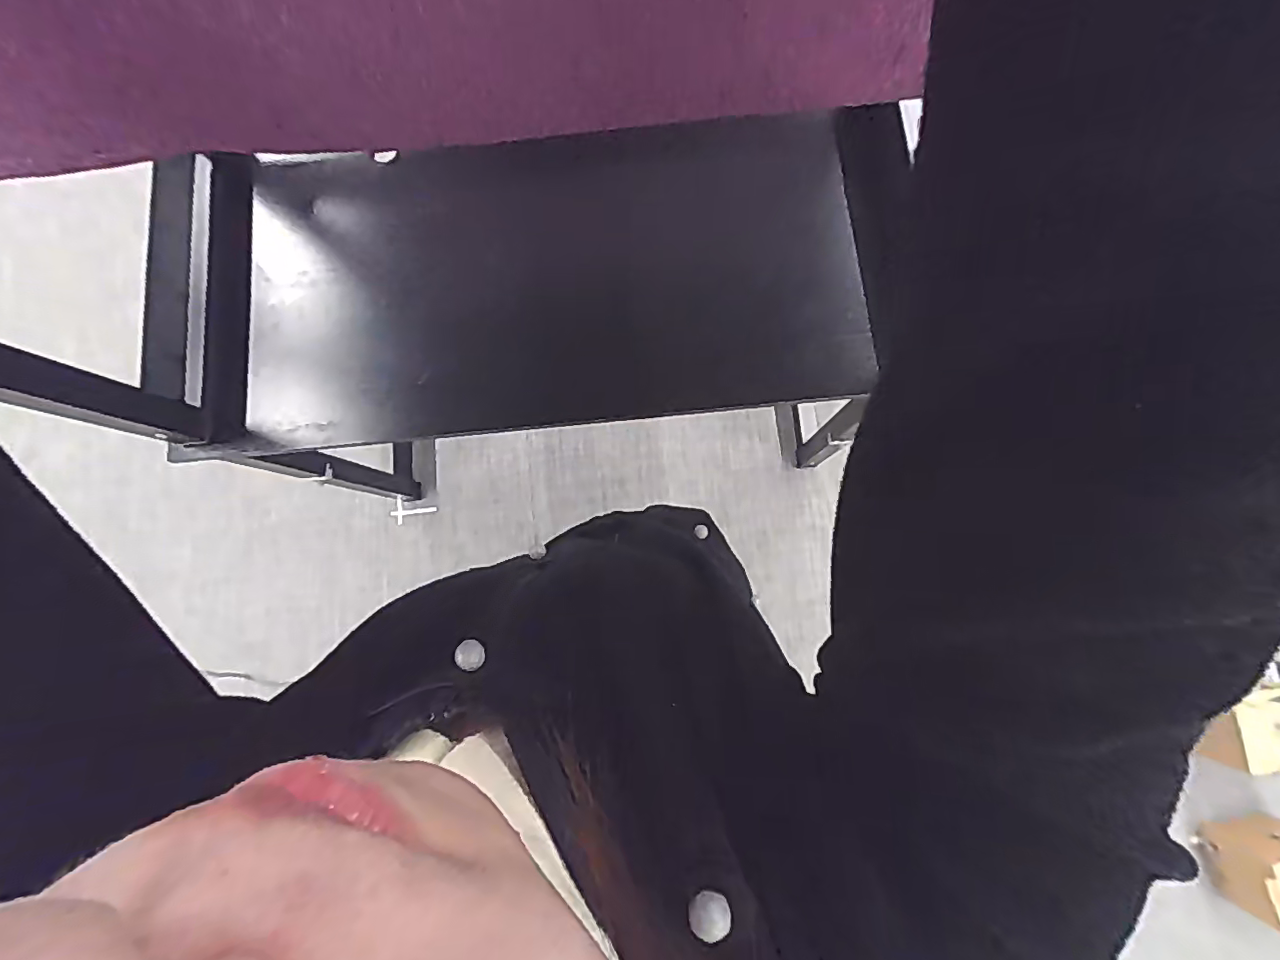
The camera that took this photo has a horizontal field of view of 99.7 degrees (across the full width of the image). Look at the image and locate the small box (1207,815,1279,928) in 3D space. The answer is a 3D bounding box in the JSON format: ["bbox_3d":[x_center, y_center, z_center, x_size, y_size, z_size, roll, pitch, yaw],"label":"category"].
[{"bbox_3d":[1.463,0.899,1.230,0.179,0.176,0.168,-13,82,1],"label":"small box"}]

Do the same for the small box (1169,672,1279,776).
[{"bbox_3d":[1.422,0.569,1.278,0.168,0.176,0.179,-6,82,3],"label":"small box"}]
